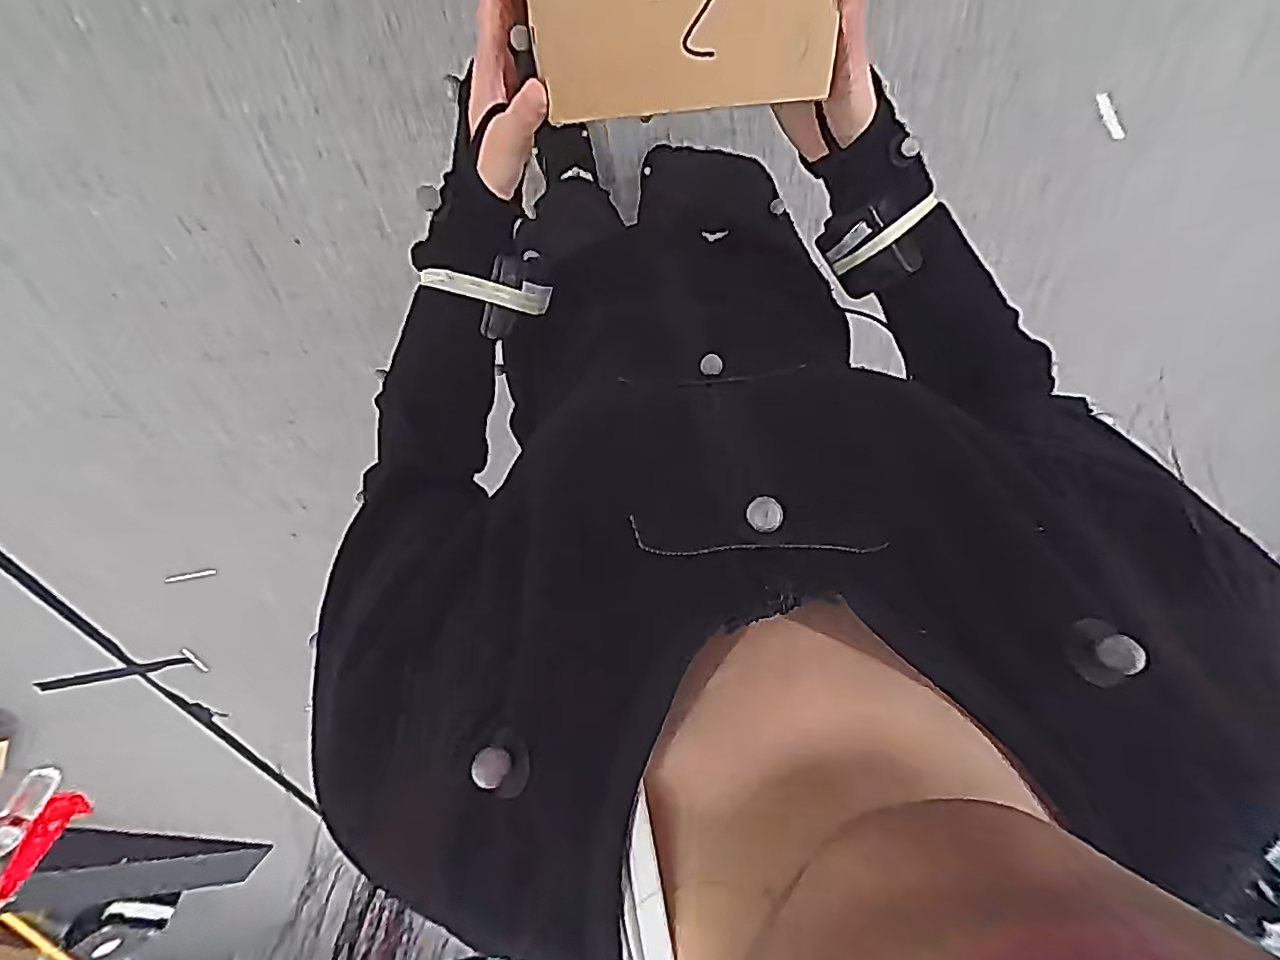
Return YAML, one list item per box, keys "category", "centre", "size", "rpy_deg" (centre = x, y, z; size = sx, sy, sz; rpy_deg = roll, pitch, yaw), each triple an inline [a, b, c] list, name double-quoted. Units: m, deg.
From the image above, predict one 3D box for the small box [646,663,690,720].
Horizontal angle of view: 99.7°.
- category: "small box"
  centre: [0.123, 0.935, 2.412]
  size: [0.168, 0.176, 0.179]
  rpy_deg: [-9, 130, -4]

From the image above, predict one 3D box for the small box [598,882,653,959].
- category: "small box"
  centre: [-0.054, 1.581, 1.941]
  size: [0.179, 0.176, 0.168]
  rpy_deg: [-10, 130, -5]
